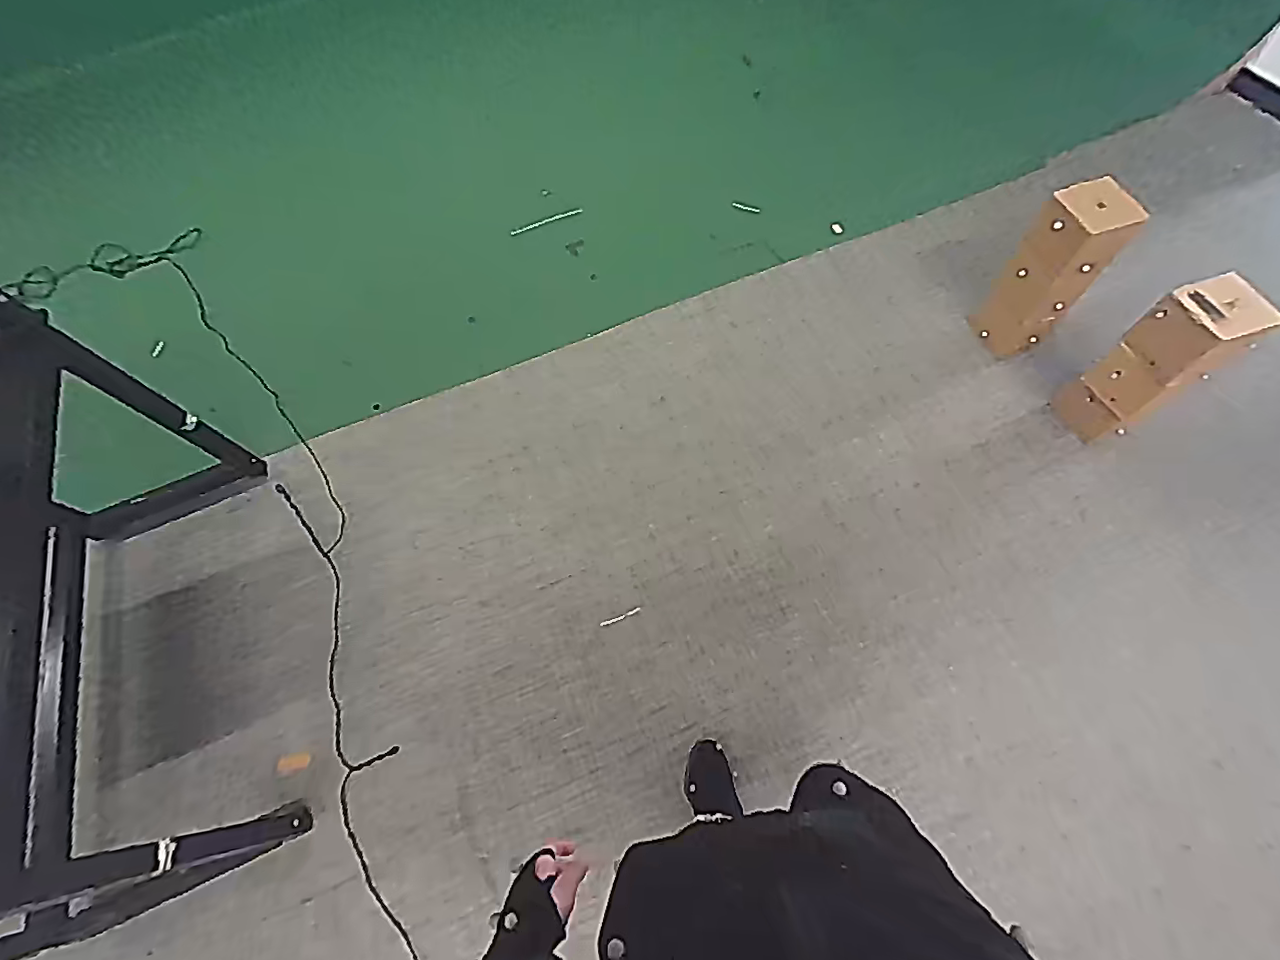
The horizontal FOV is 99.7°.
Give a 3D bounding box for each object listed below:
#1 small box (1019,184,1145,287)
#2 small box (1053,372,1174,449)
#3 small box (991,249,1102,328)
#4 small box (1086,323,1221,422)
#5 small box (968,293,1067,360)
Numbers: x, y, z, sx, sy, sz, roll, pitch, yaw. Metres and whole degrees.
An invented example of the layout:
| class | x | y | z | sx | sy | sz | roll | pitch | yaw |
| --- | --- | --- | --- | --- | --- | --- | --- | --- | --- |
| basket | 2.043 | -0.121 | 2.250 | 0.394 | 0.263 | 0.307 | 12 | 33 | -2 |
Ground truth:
| class | x | y | z | sx | sy | sz | roll | pitch | yaw |
| --- | --- | --- | --- | --- | --- | --- | --- | --- | --- |
| small box | 1.200 | -0.668 | 1.488 | 0.168 | 0.176 | 0.179 | -17 | 64 | -2 |
| small box | 1.399 | -0.224 | 1.615 | 0.168 | 0.176 | 0.179 | -21 | 65 | -4 |
| small box | 1.214 | -0.595 | 1.633 | 0.168 | 0.176 | 0.179 | -18 | 64 | -3 |
| small box | 1.372 | -0.284 | 1.467 | 0.179 | 0.176 | 0.168 | -24 | 64 | -7 |
| small box | 1.231 | -0.516 | 1.777 | 0.168 | 0.176 | 0.179 | -19 | 65 | -4 |
